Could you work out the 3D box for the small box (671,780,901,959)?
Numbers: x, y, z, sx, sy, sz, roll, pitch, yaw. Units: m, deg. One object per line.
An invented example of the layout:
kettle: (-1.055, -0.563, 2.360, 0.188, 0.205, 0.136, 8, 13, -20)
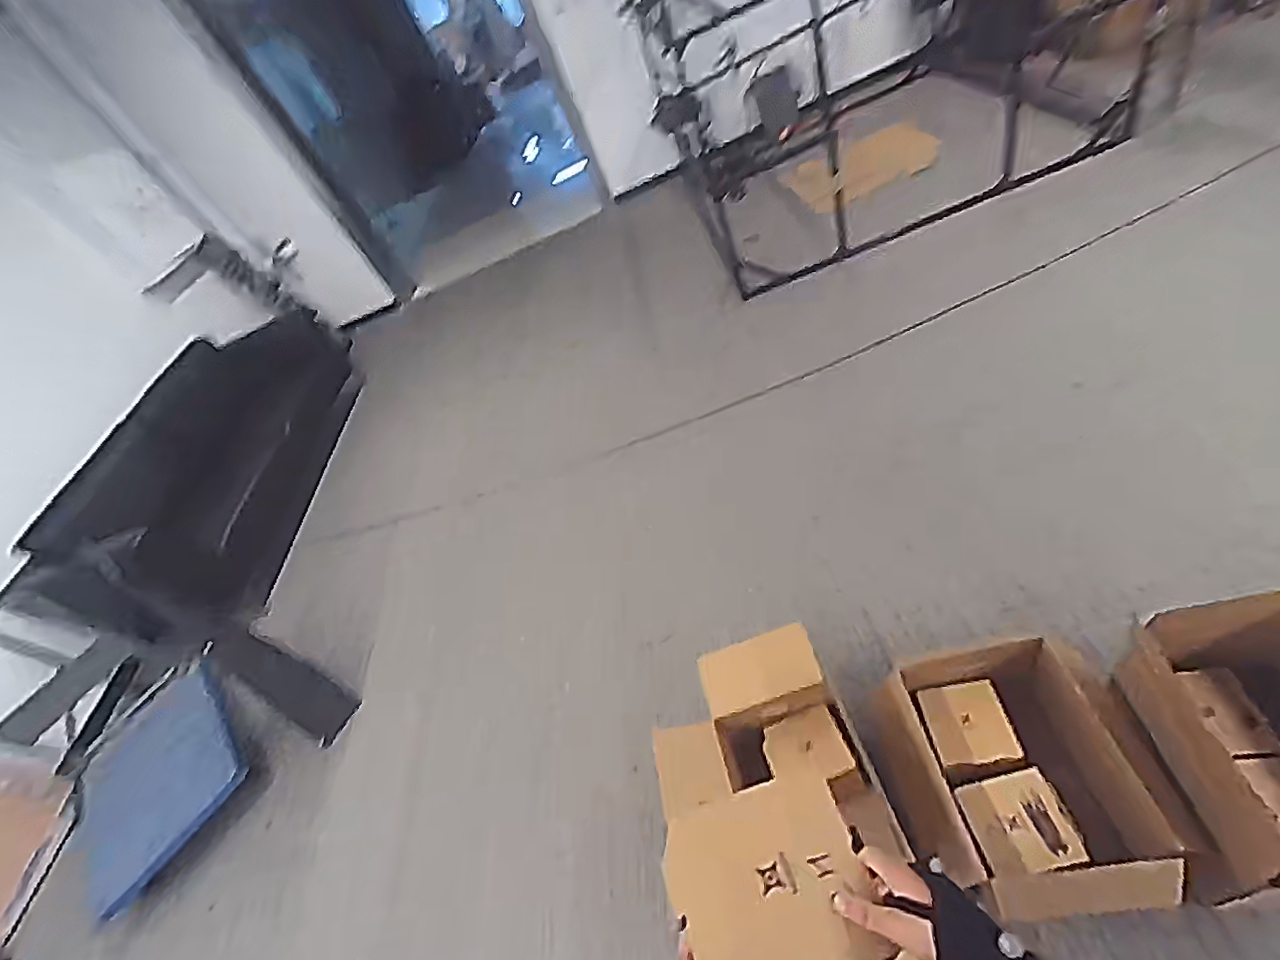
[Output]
small box: (0.136, 0.463, 0.585, 0.179, 0.176, 0.168, -7, 41, -13)
